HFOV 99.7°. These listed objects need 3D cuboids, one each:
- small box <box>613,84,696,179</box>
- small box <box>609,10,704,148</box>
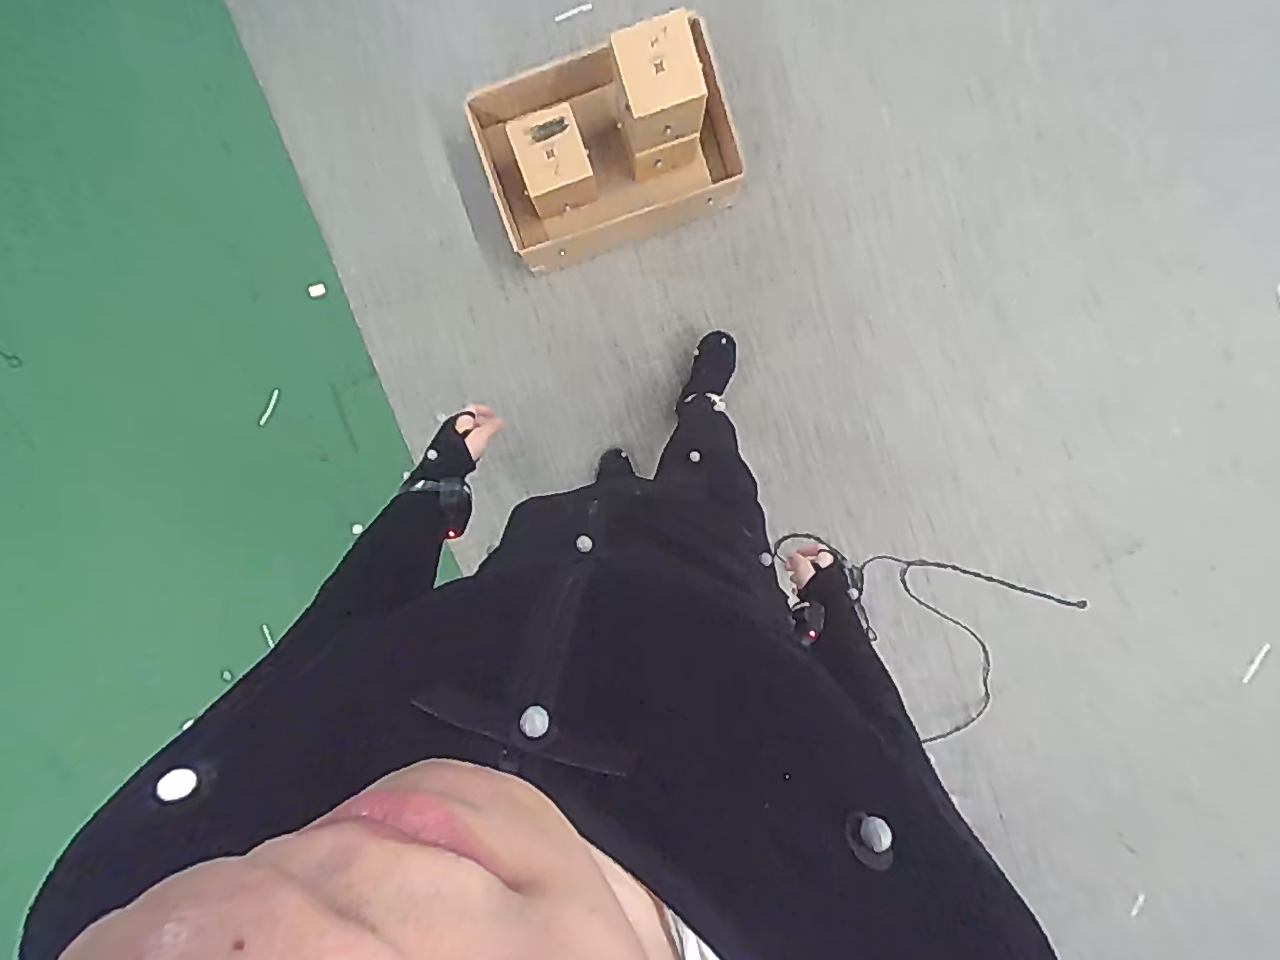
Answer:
[{"bbox_3d":[0.038,-0.896,1.373,0.168,0.176,0.179,-18,97,3],"label":"small box"},{"bbox_3d":[0.038,-0.876,1.208,0.168,0.176,0.179,-17,97,3],"label":"small box"}]
